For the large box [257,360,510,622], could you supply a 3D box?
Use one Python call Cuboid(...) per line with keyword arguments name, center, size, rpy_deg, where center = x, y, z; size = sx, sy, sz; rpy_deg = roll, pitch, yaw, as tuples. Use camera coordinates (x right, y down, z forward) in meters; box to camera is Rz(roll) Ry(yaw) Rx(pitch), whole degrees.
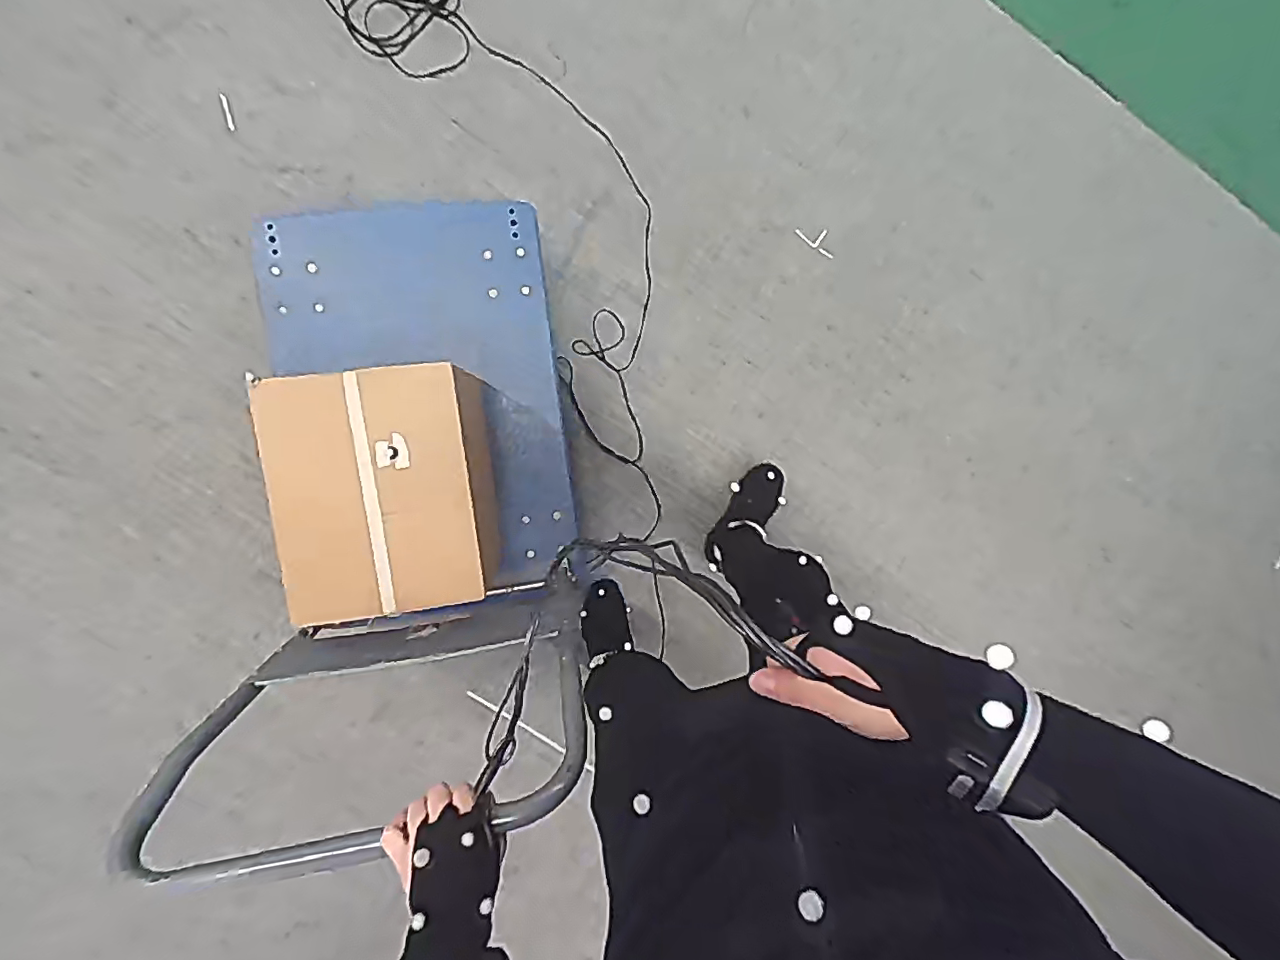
Cuboid(name="large box", center=(-0.448, 0.009, 1.035), size=(0.320, 0.320, 0.408), rpy_deg=(-8, 95, -8))
